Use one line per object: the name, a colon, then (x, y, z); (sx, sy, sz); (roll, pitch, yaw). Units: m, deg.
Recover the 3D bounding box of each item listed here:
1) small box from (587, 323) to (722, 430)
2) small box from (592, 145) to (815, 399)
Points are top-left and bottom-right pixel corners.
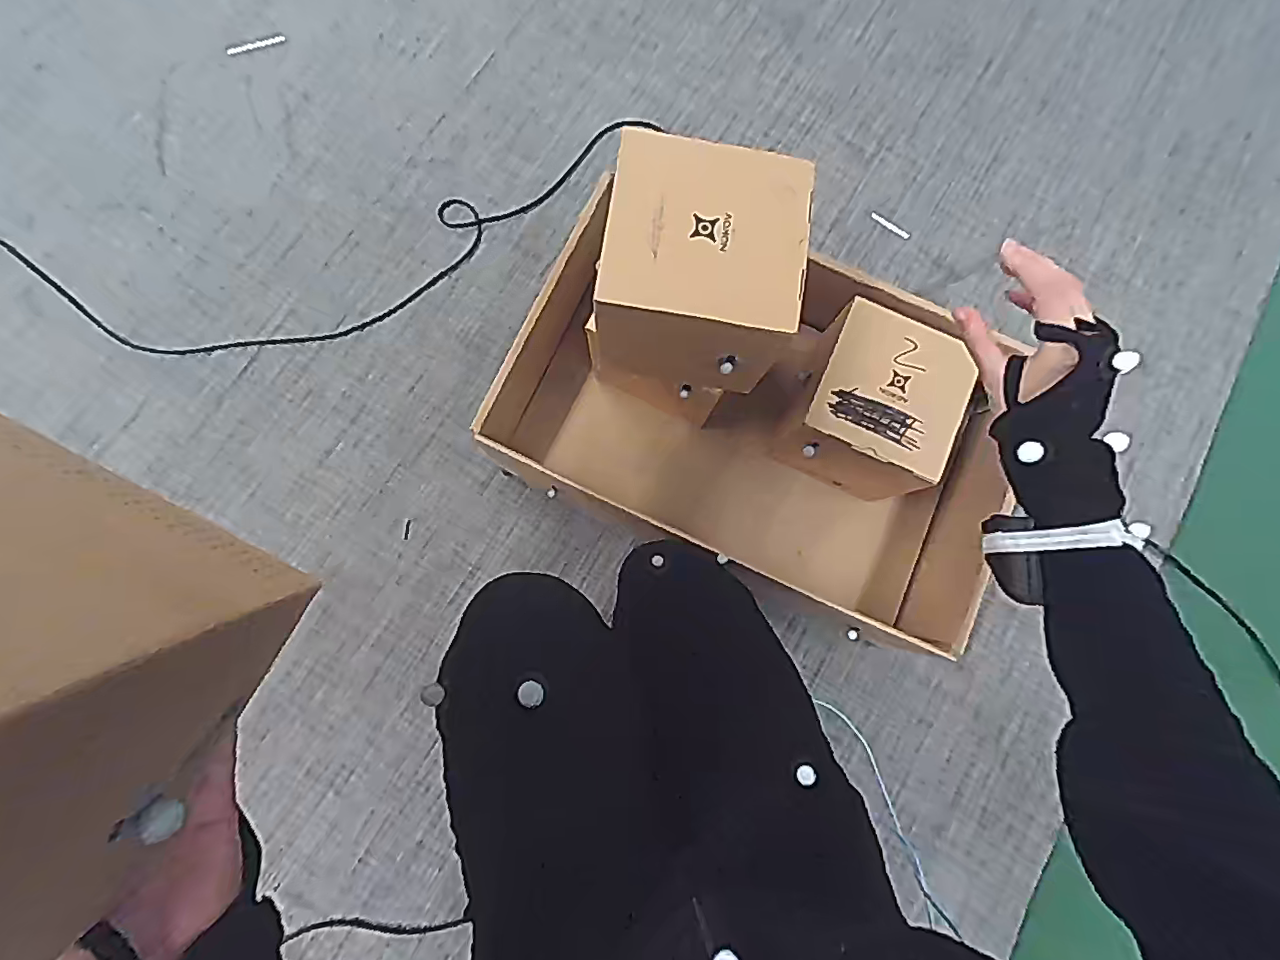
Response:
small box: (0.046, -0.182, 0.706); (0.179, 0.176, 0.168); (26, 81, 0)
small box: (0.053, -0.189, 0.543); (0.179, 0.176, 0.168); (9, 82, -1)
